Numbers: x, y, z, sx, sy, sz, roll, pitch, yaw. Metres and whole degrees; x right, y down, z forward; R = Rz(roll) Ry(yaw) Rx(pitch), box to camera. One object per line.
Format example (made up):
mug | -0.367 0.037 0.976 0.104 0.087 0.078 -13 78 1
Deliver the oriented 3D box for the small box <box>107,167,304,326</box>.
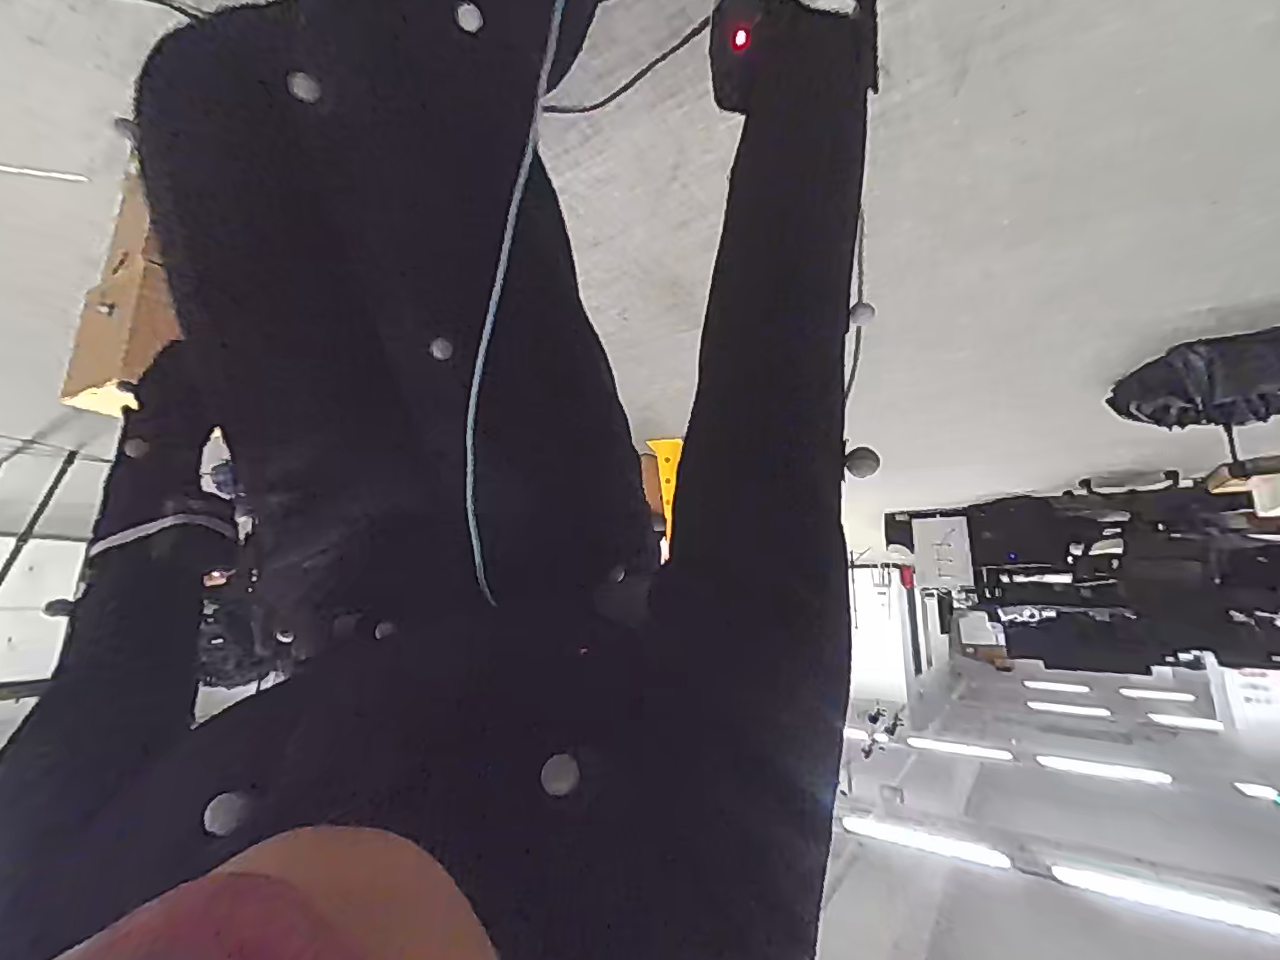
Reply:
small box | -0.639 -0.329 0.806 0.168 0.176 0.179 -6 166 31

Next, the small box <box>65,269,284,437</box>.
small box | -0.650 -0.171 0.773 0.168 0.176 0.179 -5 166 26
